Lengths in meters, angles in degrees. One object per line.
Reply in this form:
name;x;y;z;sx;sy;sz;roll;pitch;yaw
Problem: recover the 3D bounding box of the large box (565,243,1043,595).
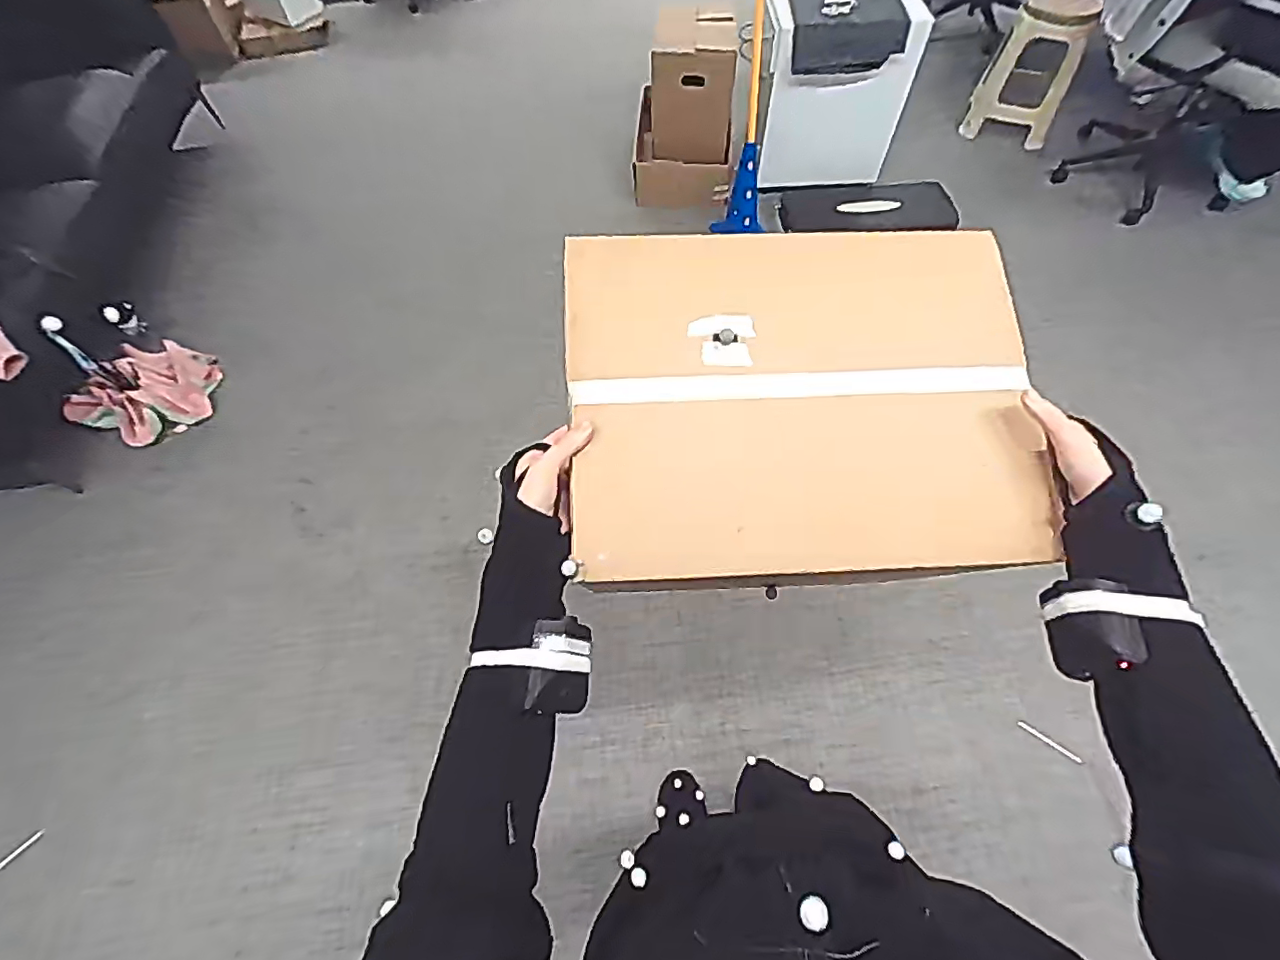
large box;0.135;-0.037;0.629;0.408;0.320;0.320;-3;75;-2
